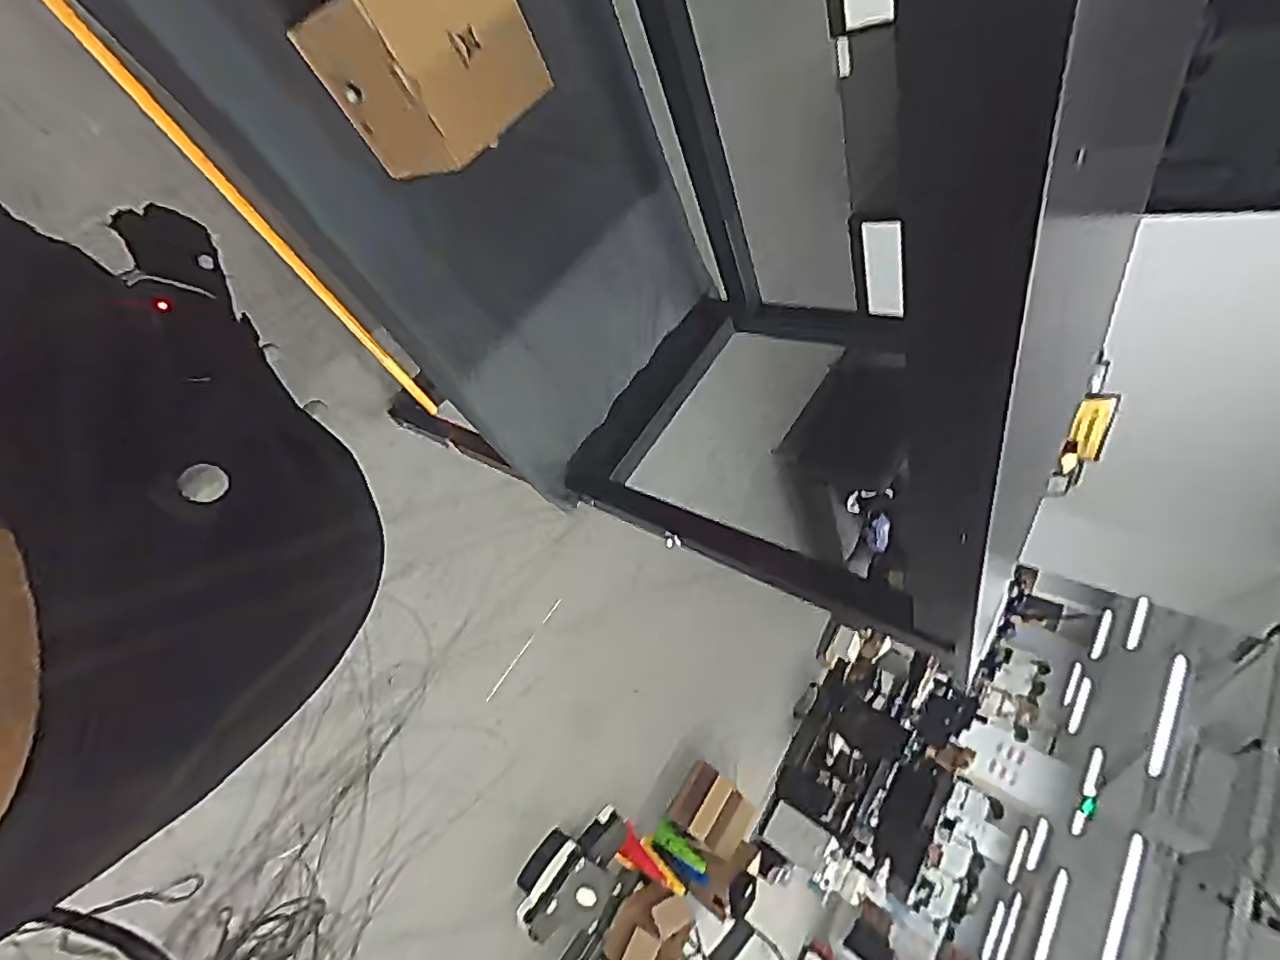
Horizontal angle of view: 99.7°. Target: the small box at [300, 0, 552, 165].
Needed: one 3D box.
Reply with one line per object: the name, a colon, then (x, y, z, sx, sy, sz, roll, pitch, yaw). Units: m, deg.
small box: (-0.243, -0.495, 0.622, 0.179, 0.176, 0.168, -55, 140, -19)
